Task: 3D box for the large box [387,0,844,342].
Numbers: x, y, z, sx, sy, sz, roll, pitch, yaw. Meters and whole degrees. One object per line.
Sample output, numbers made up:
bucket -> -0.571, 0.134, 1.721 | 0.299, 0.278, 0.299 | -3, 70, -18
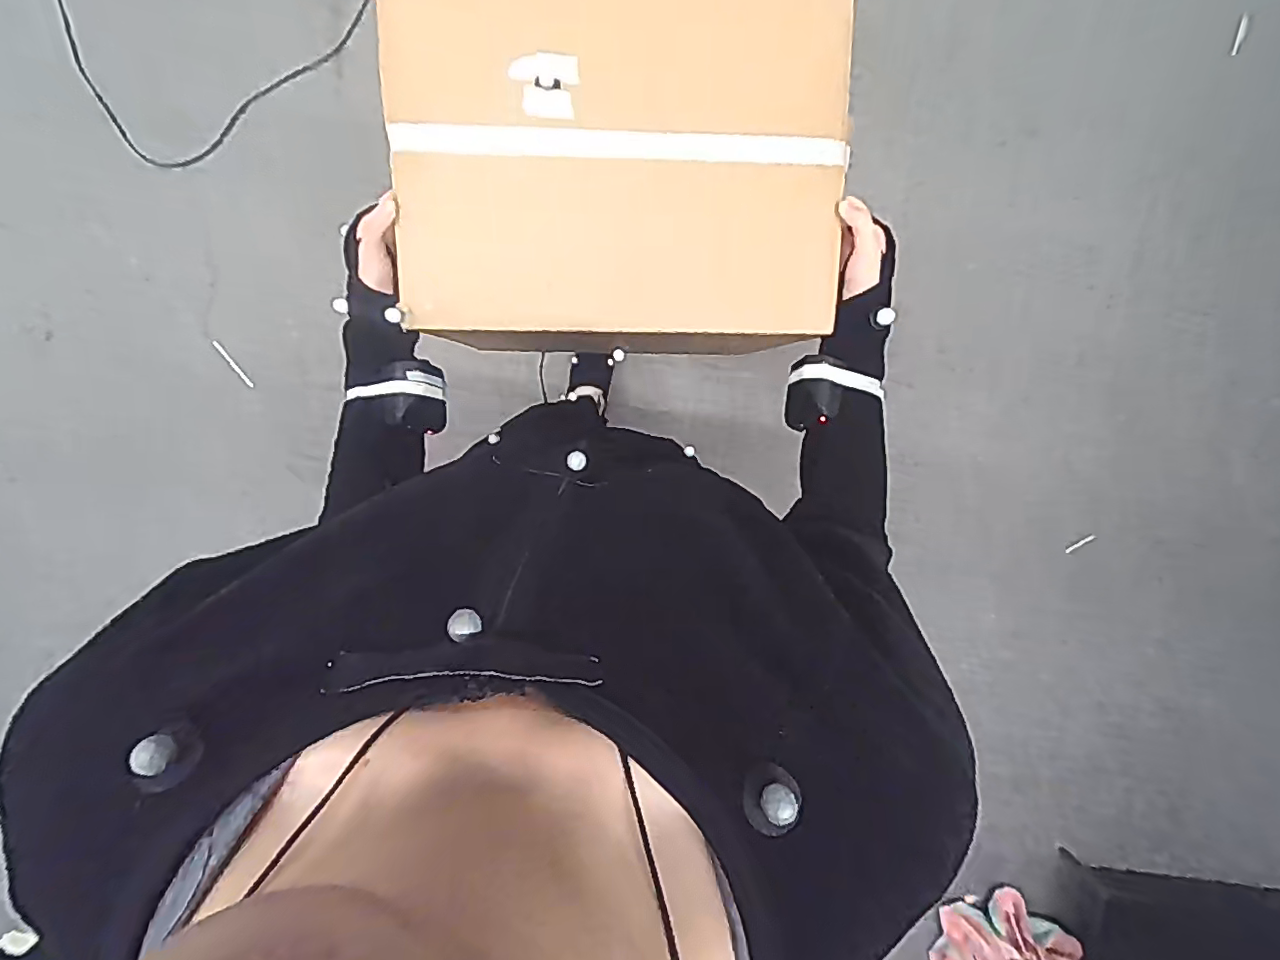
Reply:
large box -> -0.024, -0.328, 0.634 | 0.408, 0.320, 0.320 | 0, 100, -4
